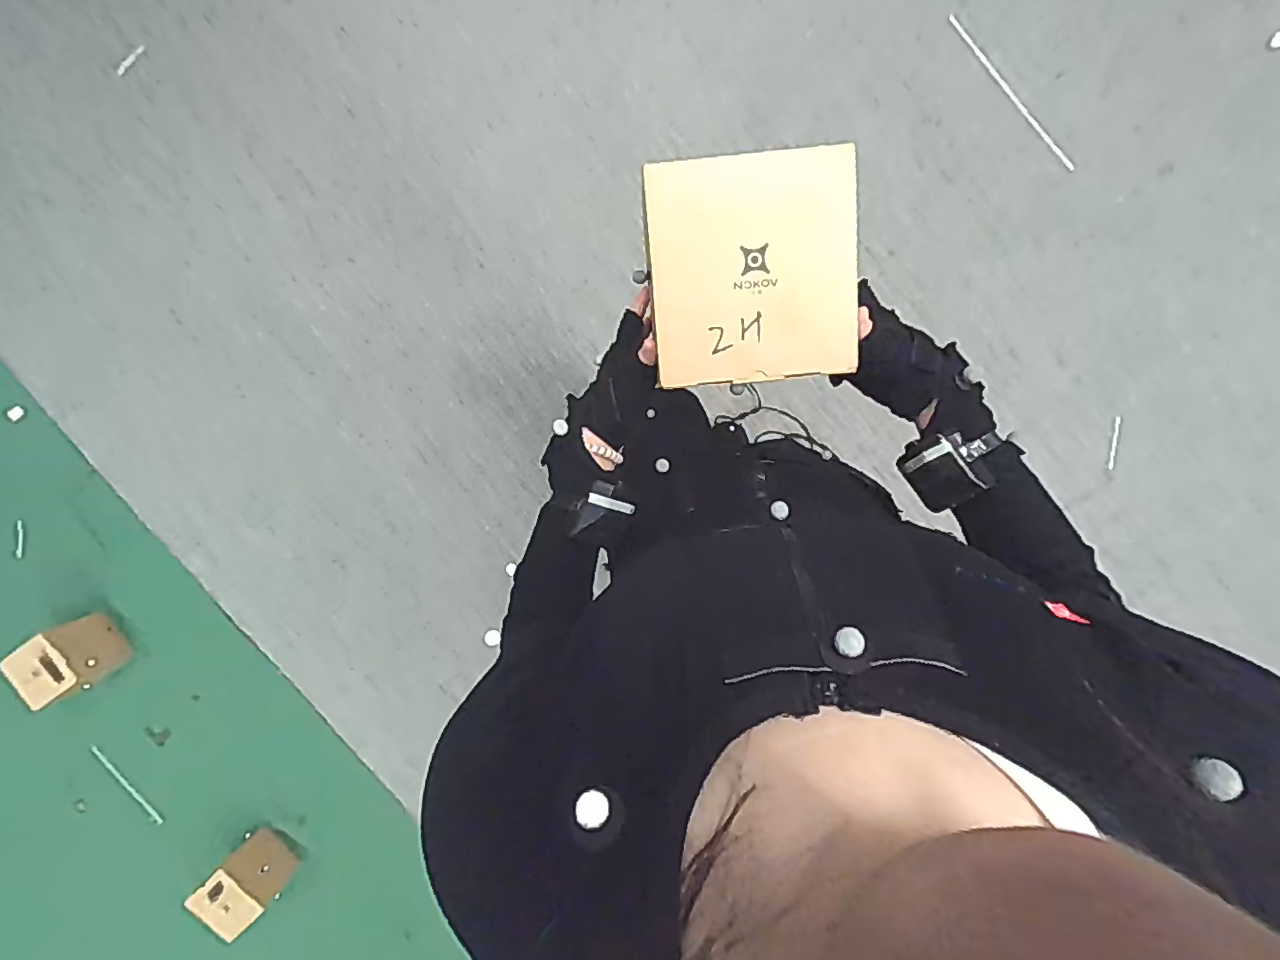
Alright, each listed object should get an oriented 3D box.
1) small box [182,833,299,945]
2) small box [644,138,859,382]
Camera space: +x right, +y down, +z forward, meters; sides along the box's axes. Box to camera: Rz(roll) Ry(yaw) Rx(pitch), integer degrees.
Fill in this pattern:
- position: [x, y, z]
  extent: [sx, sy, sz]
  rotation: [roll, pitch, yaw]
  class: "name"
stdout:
- position: [-1.164, 1.187, 1.589]
  extent: [0.168, 0.176, 0.179]
  rotation: [-43, 94, 7]
  class: "small box"
- position: [0.090, -0.184, 0.505]
  extent: [0.168, 0.176, 0.179]
  rotation: [-4, 102, 2]
  class: "small box"
